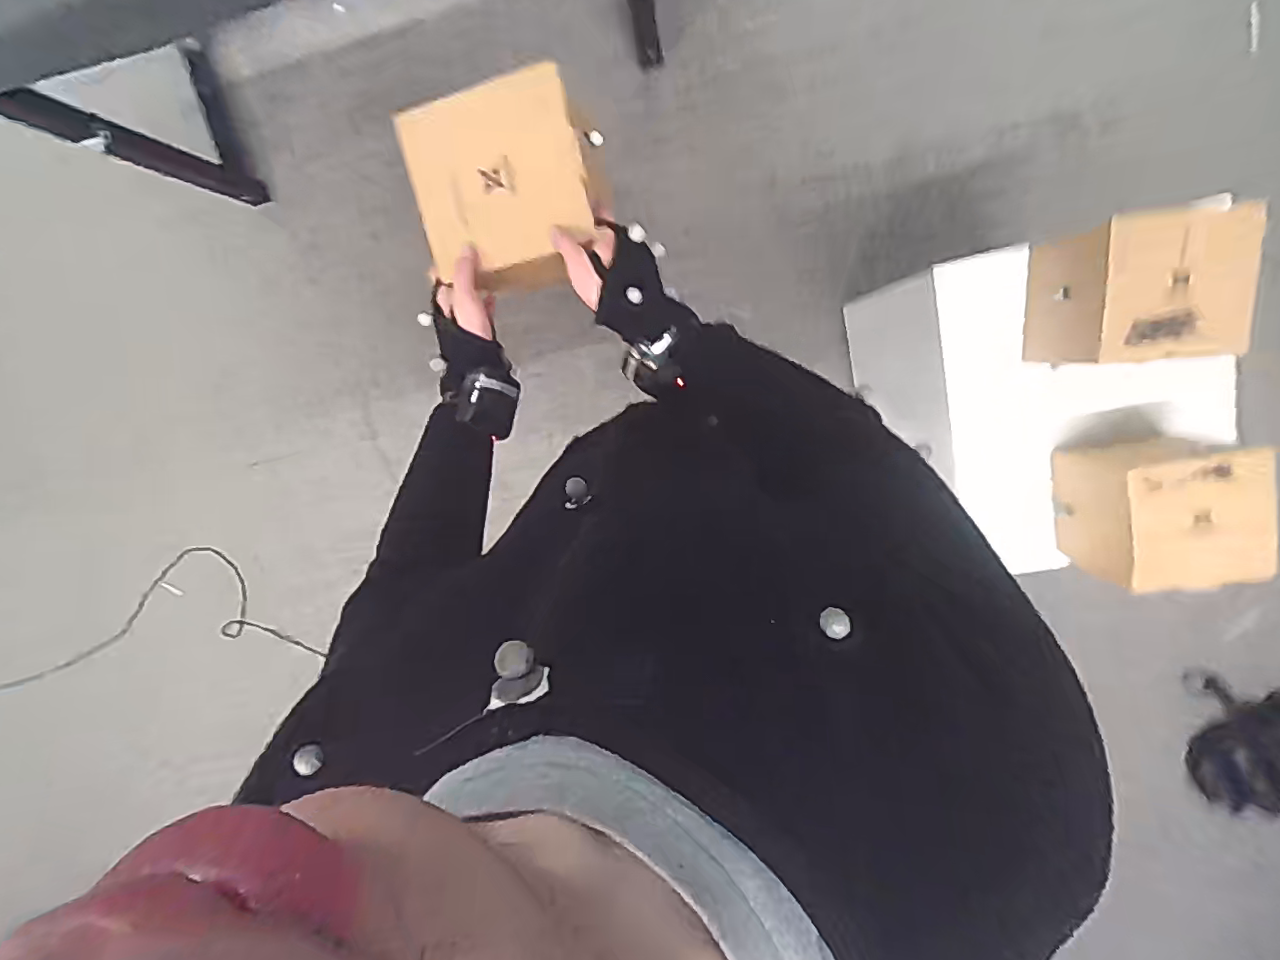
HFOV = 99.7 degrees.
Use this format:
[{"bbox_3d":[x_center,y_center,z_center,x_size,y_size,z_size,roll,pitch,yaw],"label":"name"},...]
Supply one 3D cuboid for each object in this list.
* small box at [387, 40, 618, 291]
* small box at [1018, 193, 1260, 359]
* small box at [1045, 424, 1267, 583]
[{"bbox_3d":[-0.130,-0.318,0.591,0.179,0.176,0.168,-13,100,11],"label":"small box"},{"bbox_3d":[0.641,-0.258,0.721,0.168,0.176,0.179,-4,102,5],"label":"small box"},{"bbox_3d":[0.722,0.026,0.777,0.168,0.176,0.179,-10,101,7],"label":"small box"}]
